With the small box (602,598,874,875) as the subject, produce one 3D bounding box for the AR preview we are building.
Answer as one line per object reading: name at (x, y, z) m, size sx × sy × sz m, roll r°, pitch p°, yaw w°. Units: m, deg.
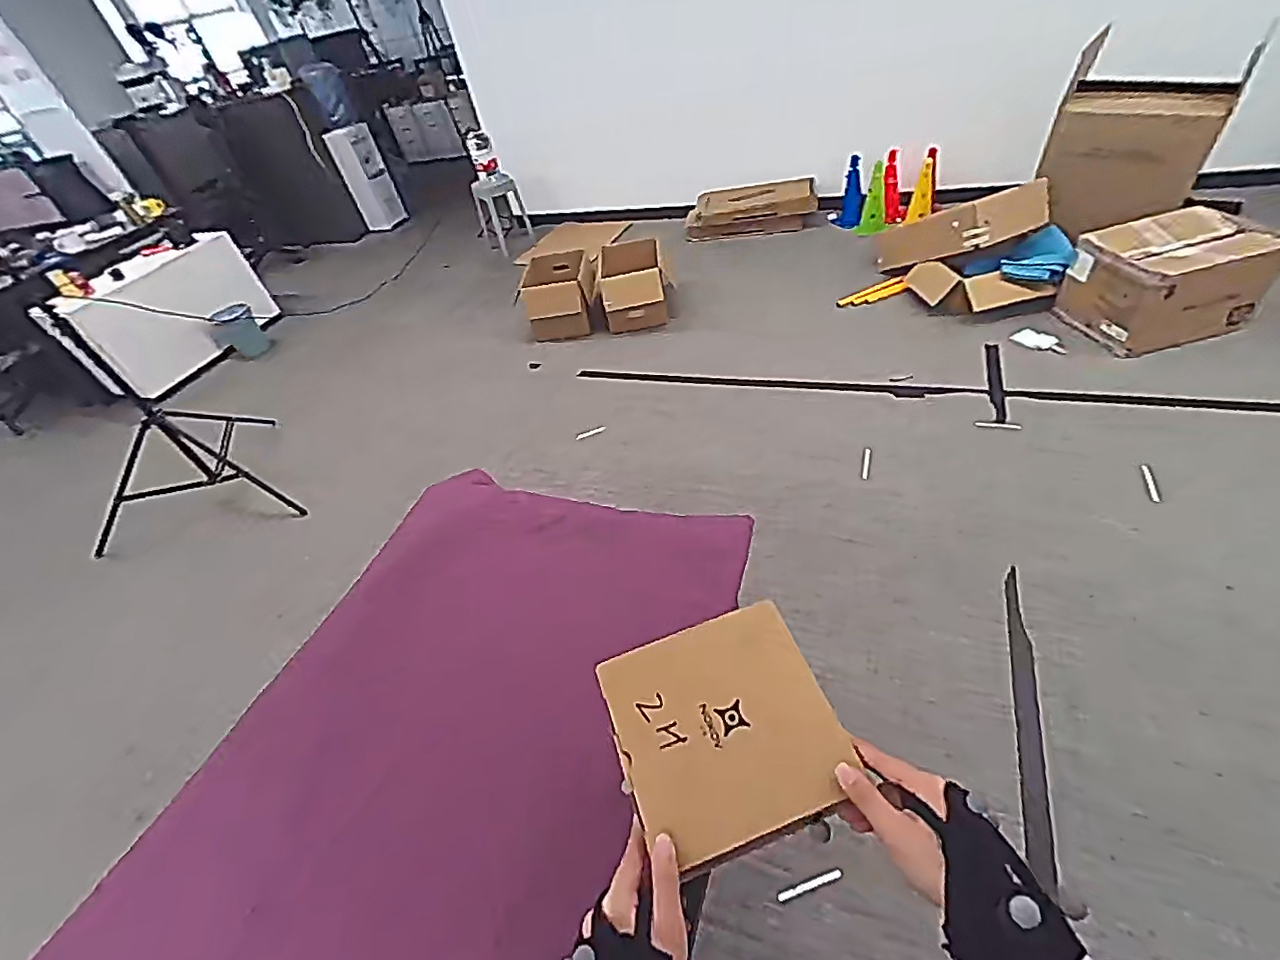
small box at (0.080, 0.241, 0.504) m, size 0.179 × 0.176 × 0.168 m, roll -19°, pitch 52°, yaw -6°
